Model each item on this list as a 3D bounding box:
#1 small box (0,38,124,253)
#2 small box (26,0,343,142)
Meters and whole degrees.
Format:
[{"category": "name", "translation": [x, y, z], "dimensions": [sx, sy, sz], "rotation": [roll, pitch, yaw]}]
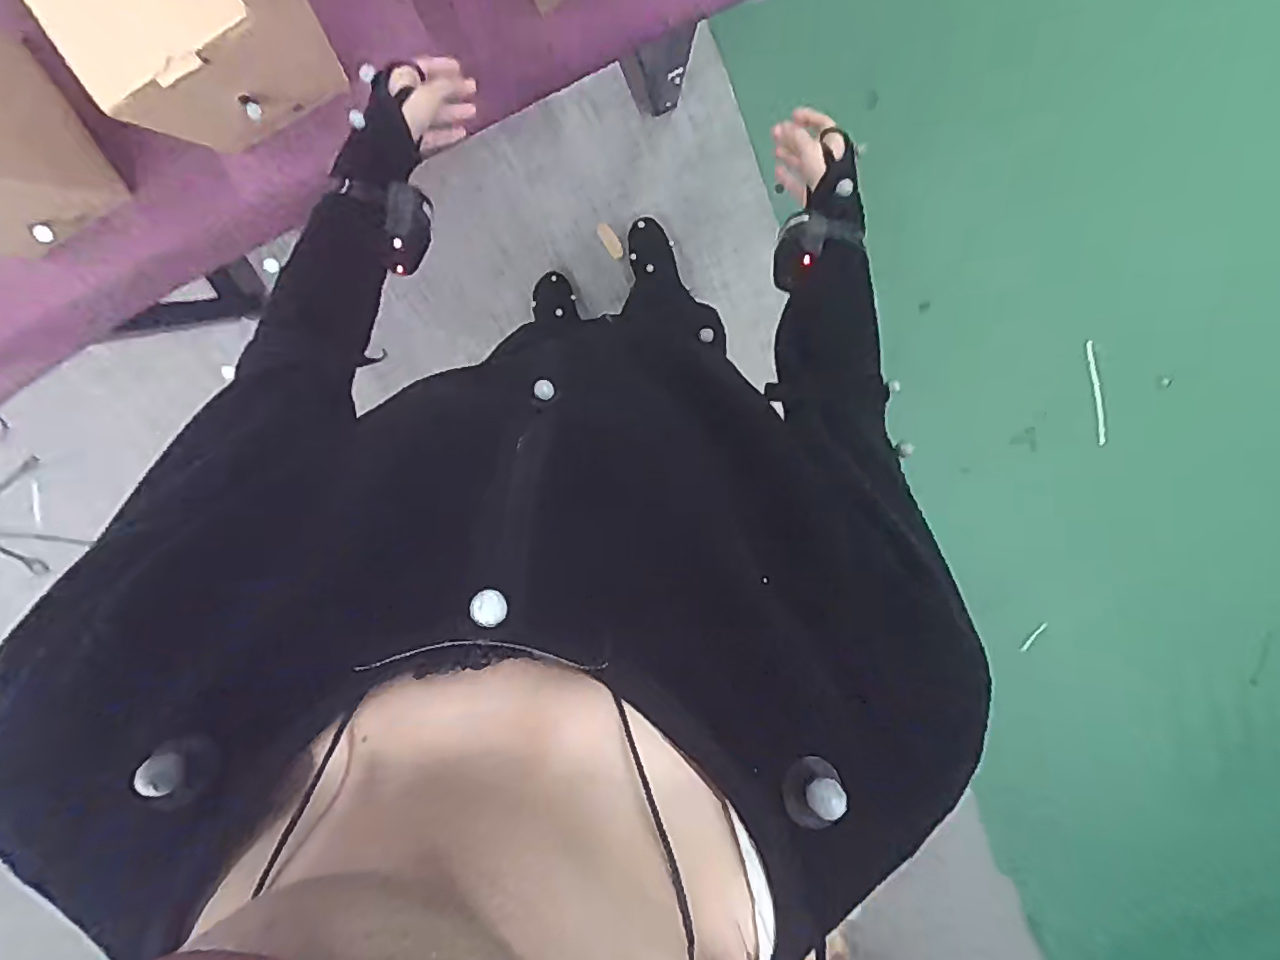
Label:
[{"category": "small box", "translation": [-0.705, -0.346, 0.542], "dimensions": [0.168, 0.176, 0.179], "rotation": [-22, 110, 8]}, {"category": "small box", "translation": [-0.426, -0.448, 0.507], "dimensions": [0.168, 0.176, 0.179], "rotation": [-22, 109, 7]}]
